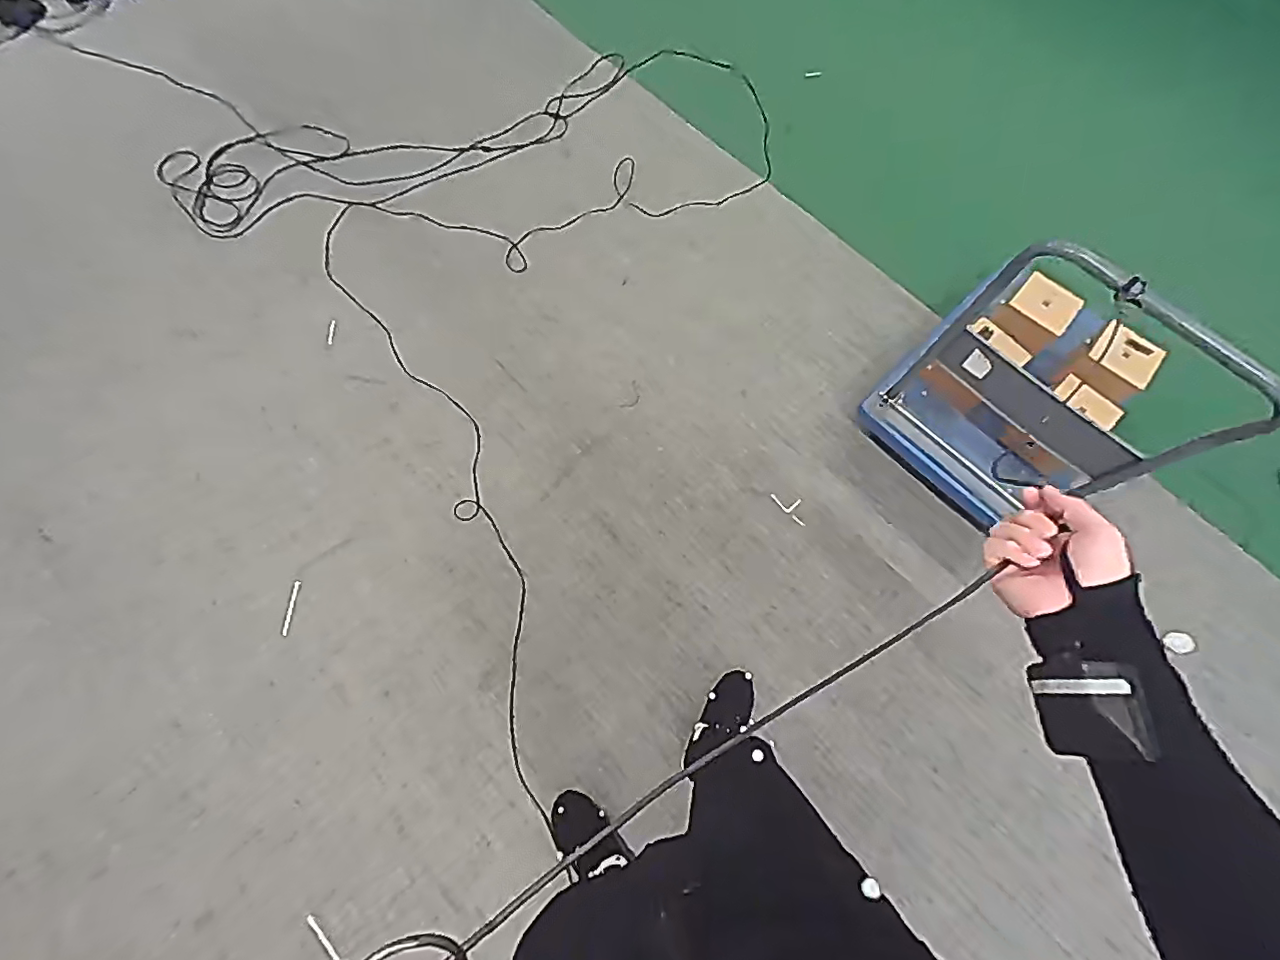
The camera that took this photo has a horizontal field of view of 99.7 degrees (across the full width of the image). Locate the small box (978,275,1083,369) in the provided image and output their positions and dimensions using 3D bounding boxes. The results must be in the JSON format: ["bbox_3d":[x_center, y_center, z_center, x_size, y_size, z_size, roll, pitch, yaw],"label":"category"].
[{"bbox_3d":[1.173,-0.473,1.642,0.168,0.176,0.179,42,71,11],"label":"small box"}]

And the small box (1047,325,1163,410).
[{"bbox_3d":[1.357,-0.310,1.589,0.168,0.176,0.179,42,72,13],"label":"small box"}]

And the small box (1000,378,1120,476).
[{"bbox_3d":[1.160,-0.144,1.509,0.179,0.176,0.168,-39,76,-16],"label":"small box"}]
